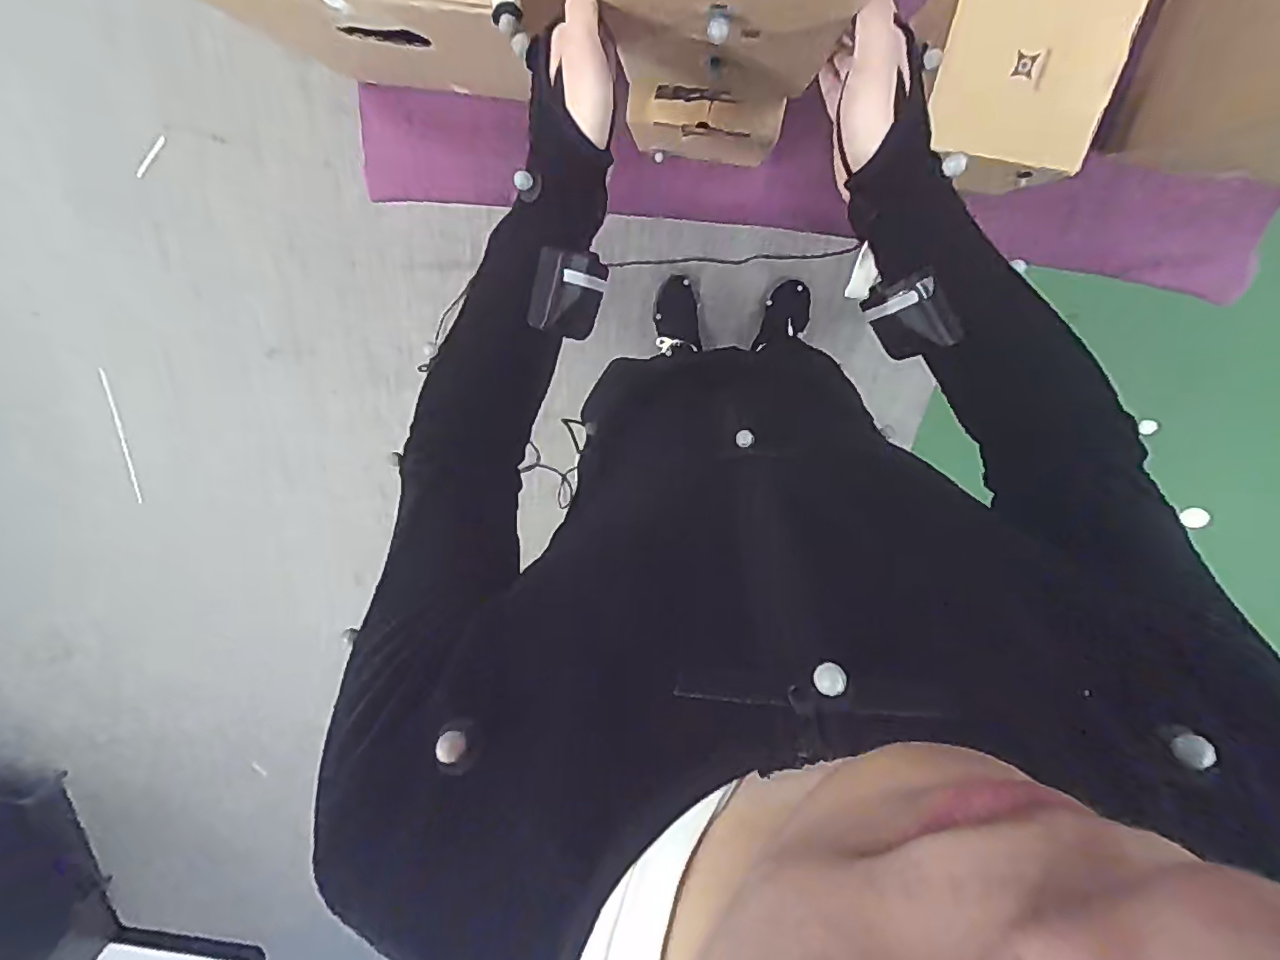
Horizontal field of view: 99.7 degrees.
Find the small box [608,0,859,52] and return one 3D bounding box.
[{"bbox_3d":[0.057,-0.367,0.286,0.168,0.176,0.179,7,114,2],"label":"small box"}]

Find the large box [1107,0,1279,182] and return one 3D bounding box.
[{"bbox_3d":[0.749,-0.510,0.471,0.320,0.320,0.408,9,114,2],"label":"large box"}]

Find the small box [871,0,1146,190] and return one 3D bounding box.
[{"bbox_3d":[0.387,-0.437,0.607,0.179,0.176,0.168,10,112,1],"label":"small box"}]

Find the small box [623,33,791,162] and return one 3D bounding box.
[{"bbox_3d":[0.080,-0.478,0.612,0.168,0.176,0.179,8,111,1],"label":"small box"}]
